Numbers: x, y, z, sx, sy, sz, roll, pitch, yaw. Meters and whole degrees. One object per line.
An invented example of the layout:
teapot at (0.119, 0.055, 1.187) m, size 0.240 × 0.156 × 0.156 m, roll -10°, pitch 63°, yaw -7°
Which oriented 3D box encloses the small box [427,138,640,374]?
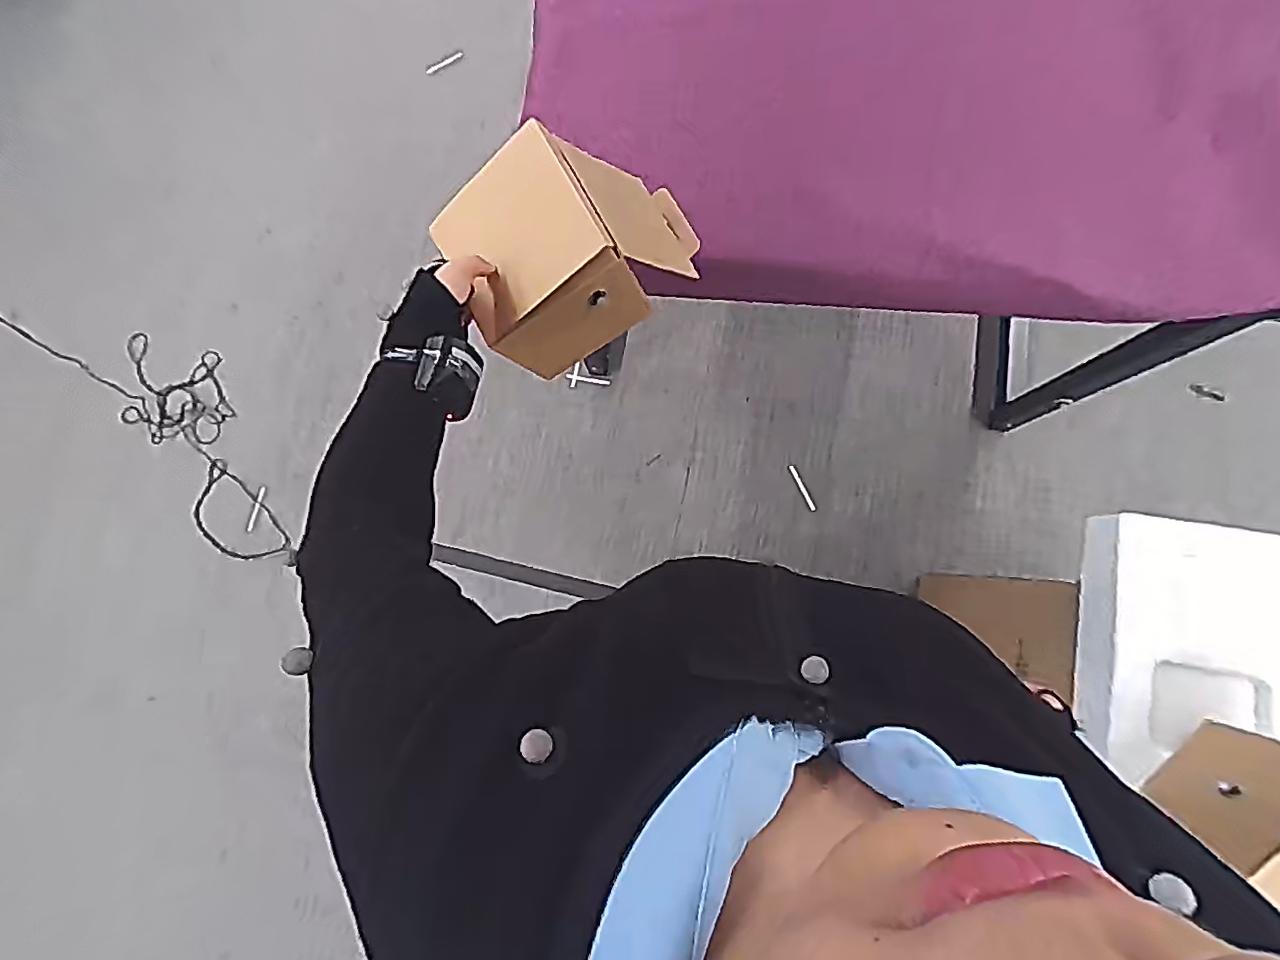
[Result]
small box at (-0.114, -0.255, 0.662) m, size 0.179 × 0.176 × 0.168 m, roll -30°, pitch 81°, yaw 11°
